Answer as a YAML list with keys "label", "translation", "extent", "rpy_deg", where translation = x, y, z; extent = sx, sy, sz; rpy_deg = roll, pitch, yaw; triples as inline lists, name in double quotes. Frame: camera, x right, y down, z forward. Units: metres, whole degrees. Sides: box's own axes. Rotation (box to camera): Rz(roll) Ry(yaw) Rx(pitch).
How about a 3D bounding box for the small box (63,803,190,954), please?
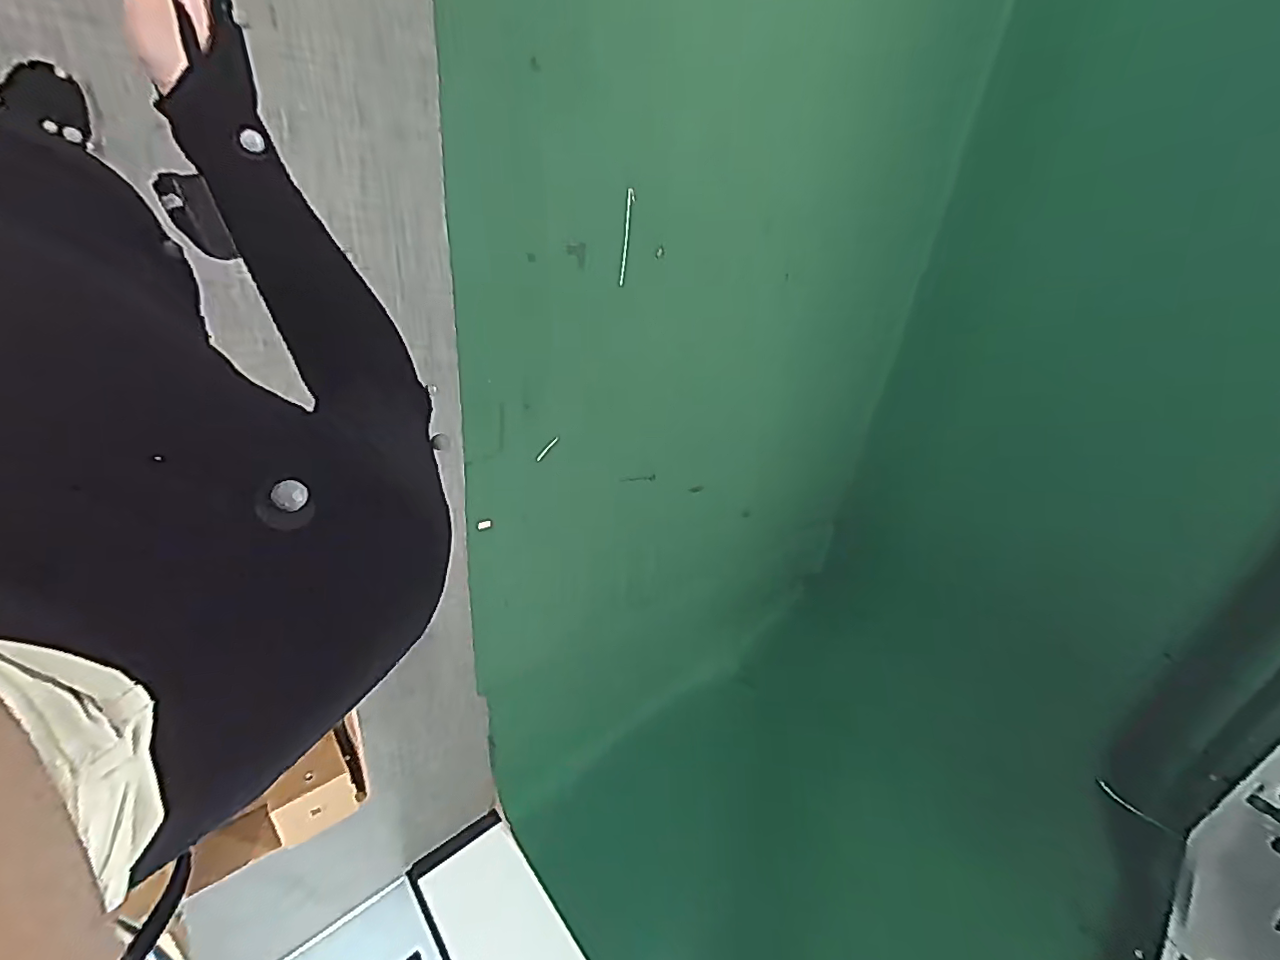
- label: "small box"
  translation: [-1.116, 0.861, 1.185]
  extent: [0.168, 0.176, 0.179]
  rpy_deg: [-16, 124, -38]
